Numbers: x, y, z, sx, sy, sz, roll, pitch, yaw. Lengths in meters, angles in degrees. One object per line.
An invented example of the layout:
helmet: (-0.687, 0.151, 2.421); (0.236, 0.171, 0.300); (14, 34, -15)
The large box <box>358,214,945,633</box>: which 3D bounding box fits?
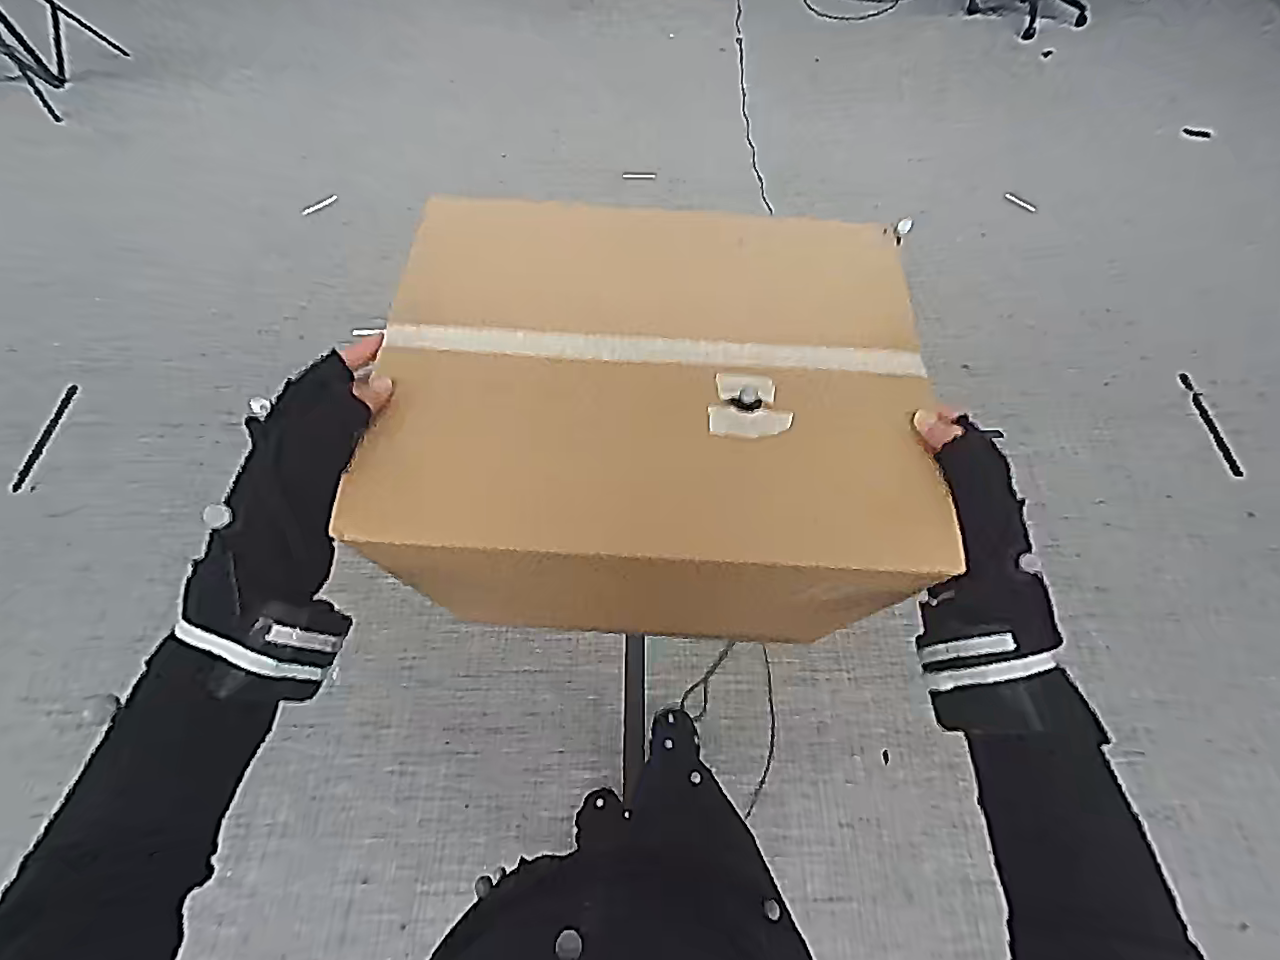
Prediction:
large box: (0.008, -0.031, 0.558); (0.408, 0.320, 0.320); (3, 65, 0)
